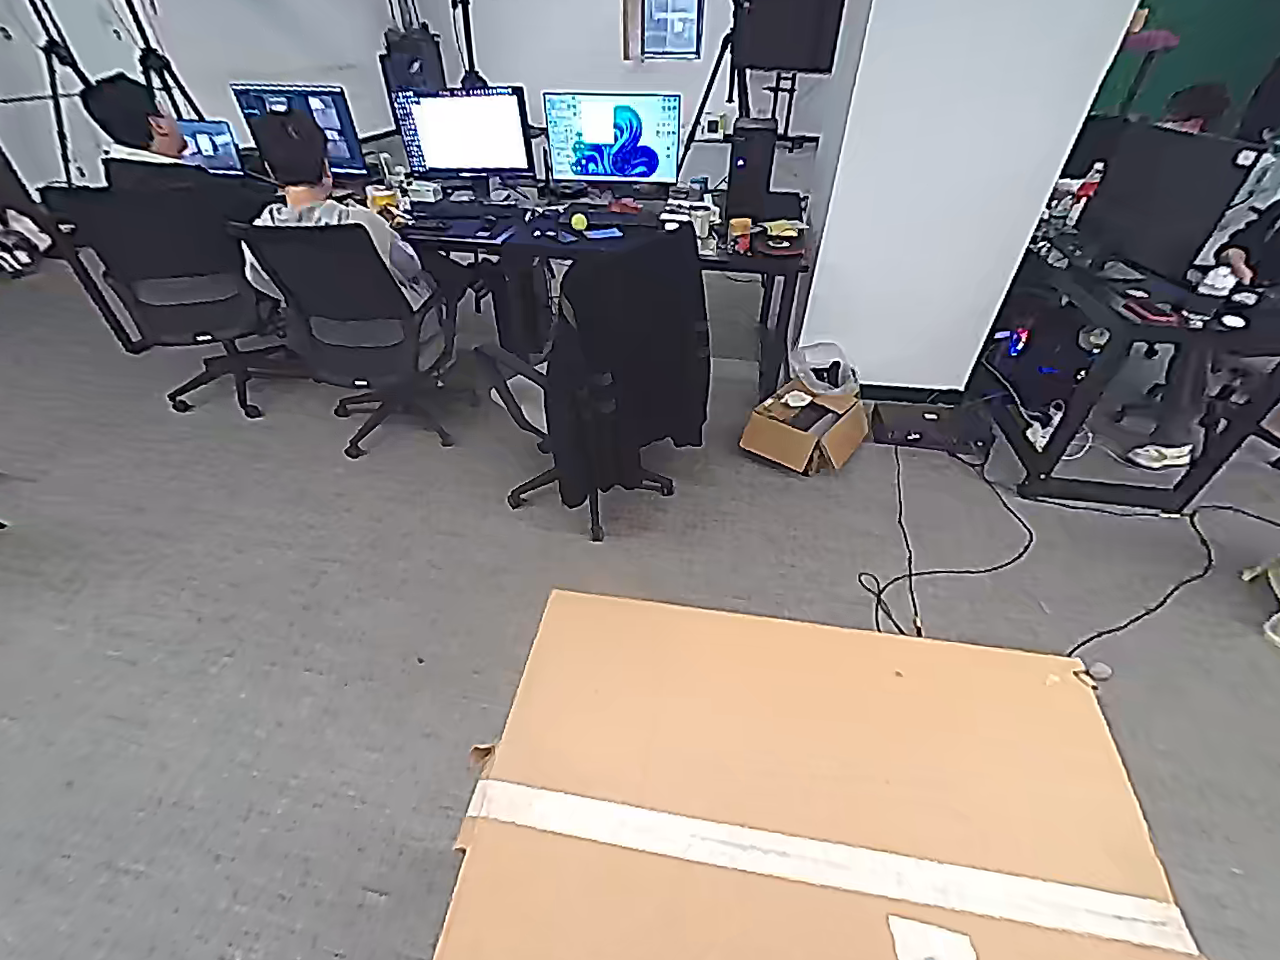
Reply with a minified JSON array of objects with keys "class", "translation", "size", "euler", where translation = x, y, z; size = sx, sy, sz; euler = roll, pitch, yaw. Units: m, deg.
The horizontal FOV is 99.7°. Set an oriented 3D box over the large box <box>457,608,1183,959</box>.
[{"class":"large box","translation":[0.105,0.334,0.439],"size":[0.408,0.320,0.320],"euler":[6,49,7]}]
